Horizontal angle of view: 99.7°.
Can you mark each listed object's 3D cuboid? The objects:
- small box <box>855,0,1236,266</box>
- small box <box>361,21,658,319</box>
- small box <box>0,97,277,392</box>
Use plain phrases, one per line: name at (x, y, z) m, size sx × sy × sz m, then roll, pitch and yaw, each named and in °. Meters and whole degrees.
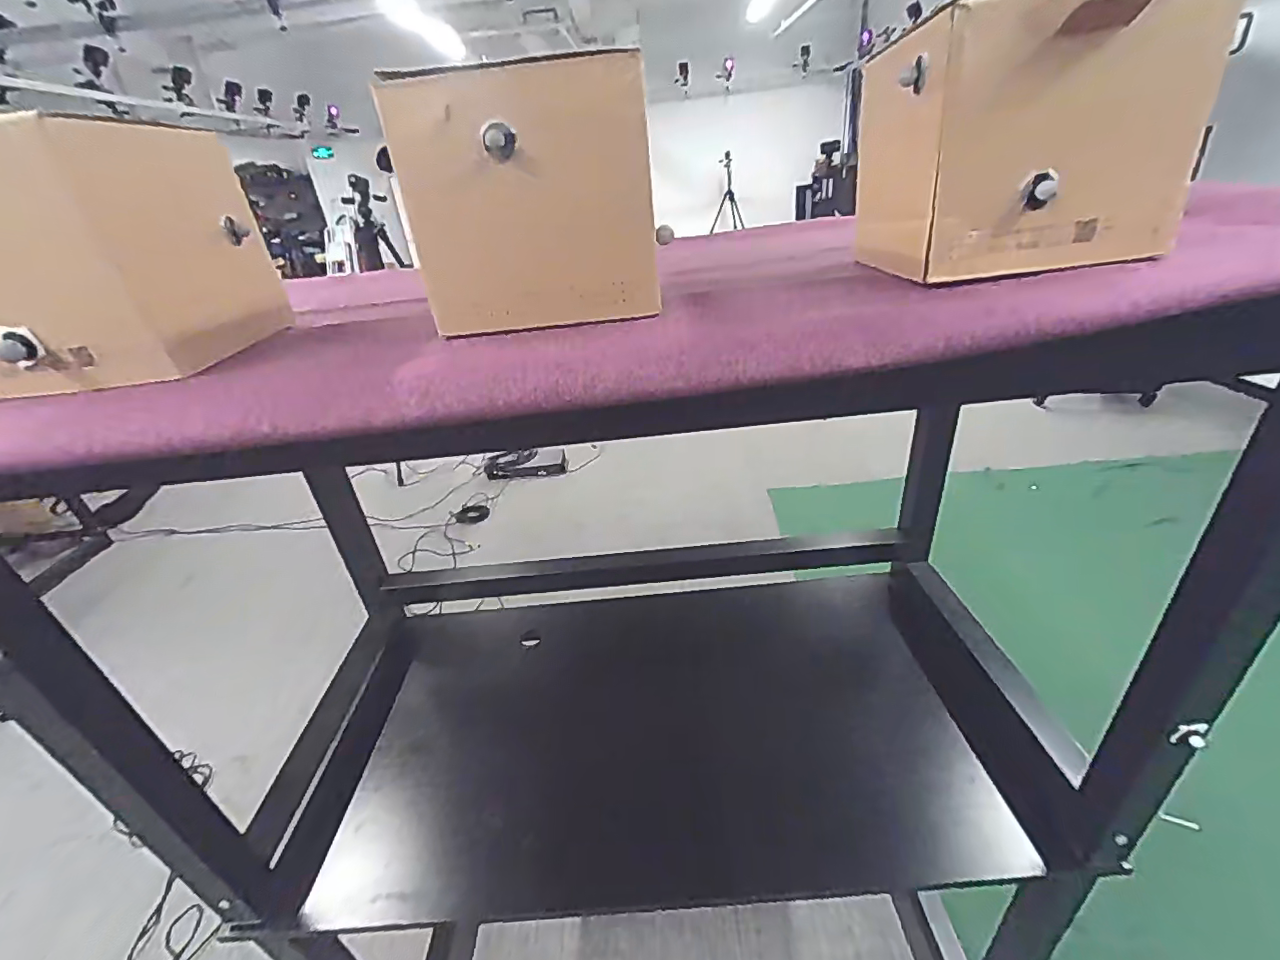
small box at (0.276, -0.268, 0.419) m, size 0.168 × 0.176 × 0.179 m, roll -6°, pitch 28°, yaw 5°
small box at (-0.082, -0.234, 0.441) m, size 0.179 × 0.176 × 0.168 m, roll -5°, pitch 28°, yaw 2°
small box at (-0.428, -0.180, 0.422) m, size 0.168 × 0.176 × 0.179 m, roll -8°, pitch 31°, yaw 0°
